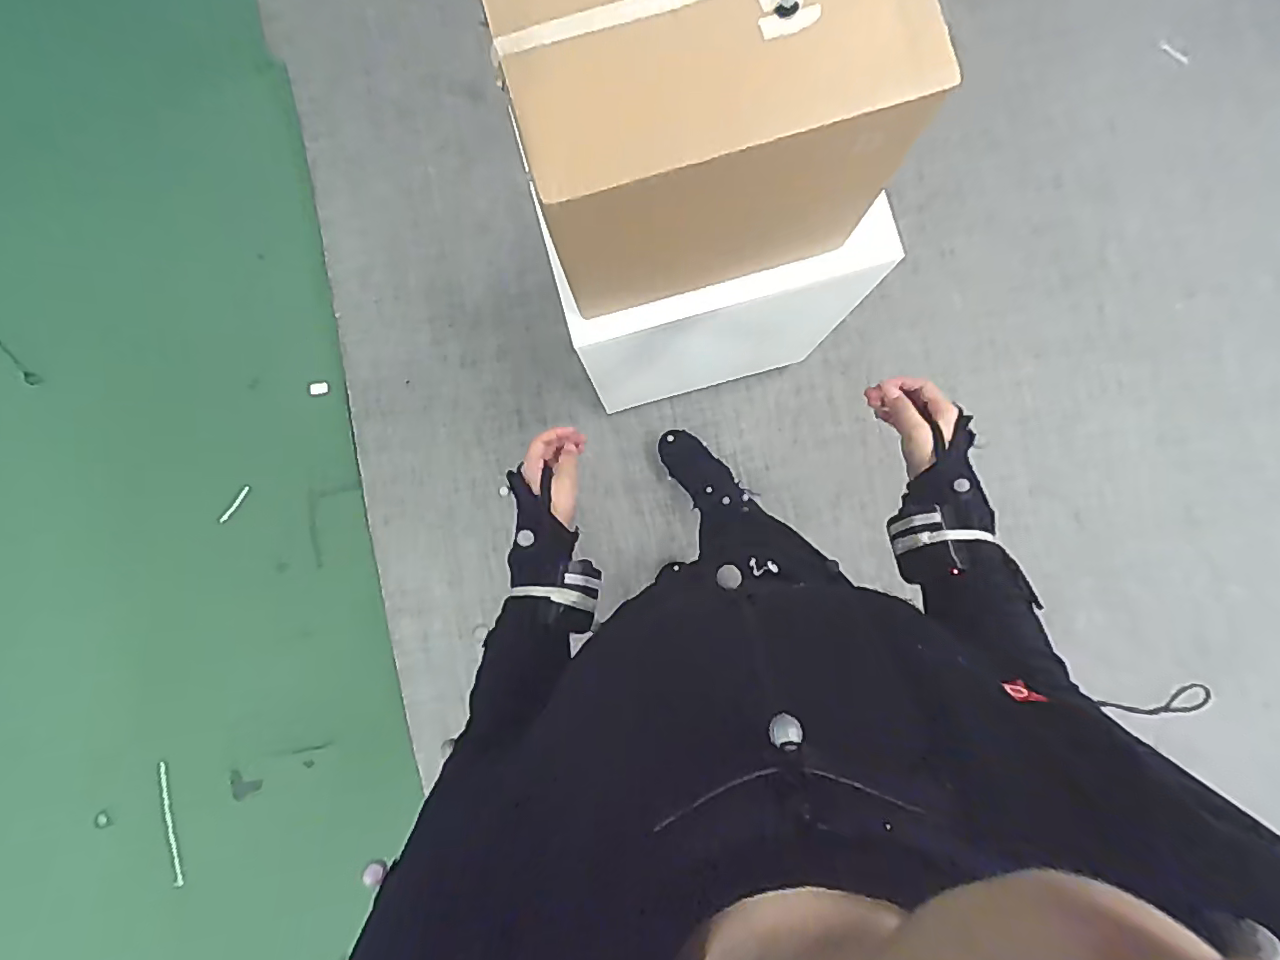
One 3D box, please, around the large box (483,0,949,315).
[{"bbox_3d":[0.061,-0.451,0.663,0.408,0.320,0.320,-16,87,-1],"label":"large box"}]
